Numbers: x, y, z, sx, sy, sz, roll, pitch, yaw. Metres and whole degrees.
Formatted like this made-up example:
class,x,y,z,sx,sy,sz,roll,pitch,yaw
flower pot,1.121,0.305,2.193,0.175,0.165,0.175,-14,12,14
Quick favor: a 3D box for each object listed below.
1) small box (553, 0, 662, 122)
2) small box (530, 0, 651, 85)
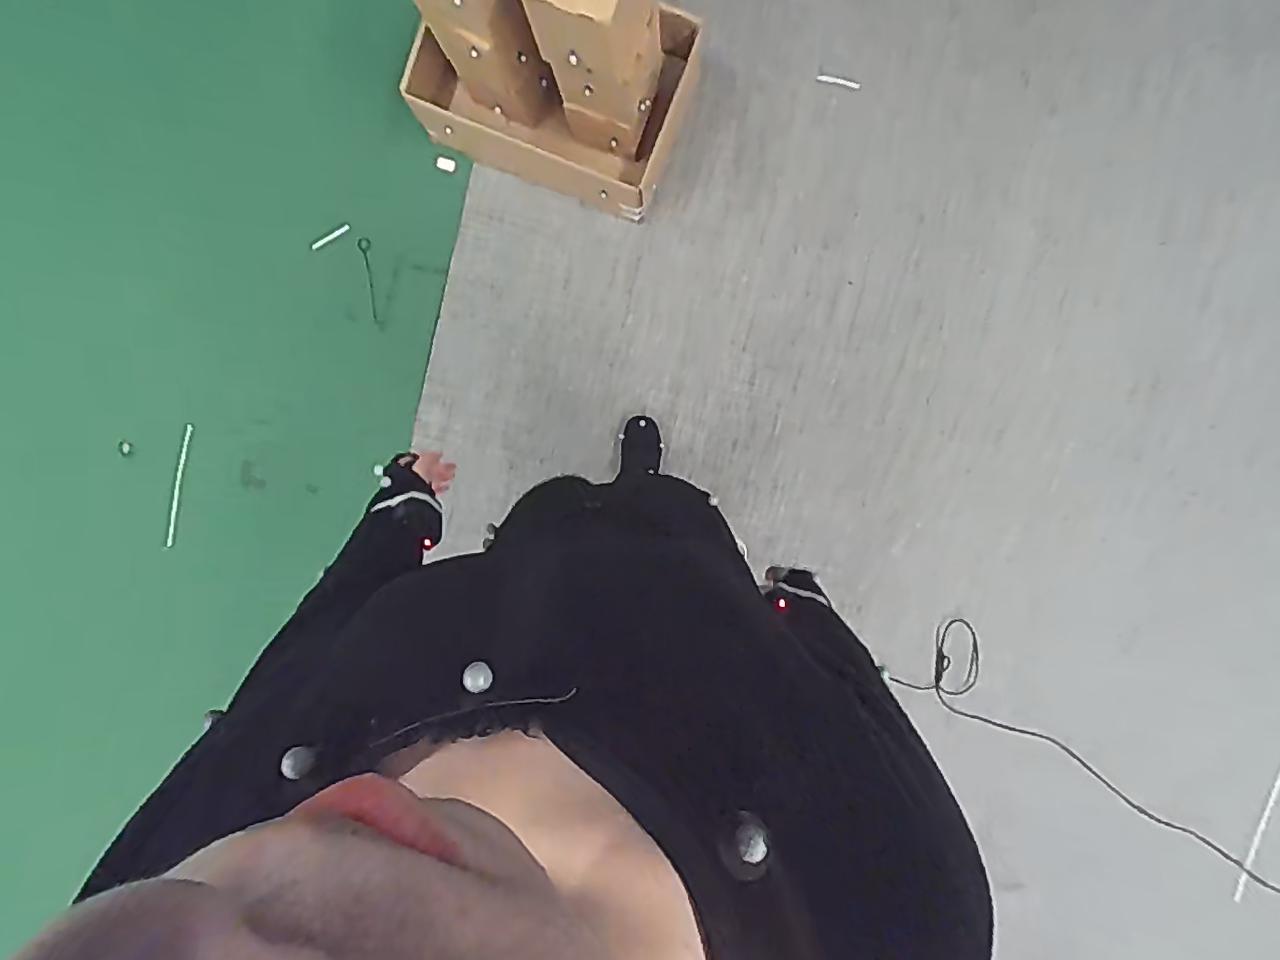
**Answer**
class,x,y,z,sx,sy,sz,roll,pitch,yaw
small box,-0.061,-0.885,1.120,0.179,0.176,0.168,22,97,3
small box,-0.083,-0.860,0.958,0.168,0.176,0.179,22,97,2
